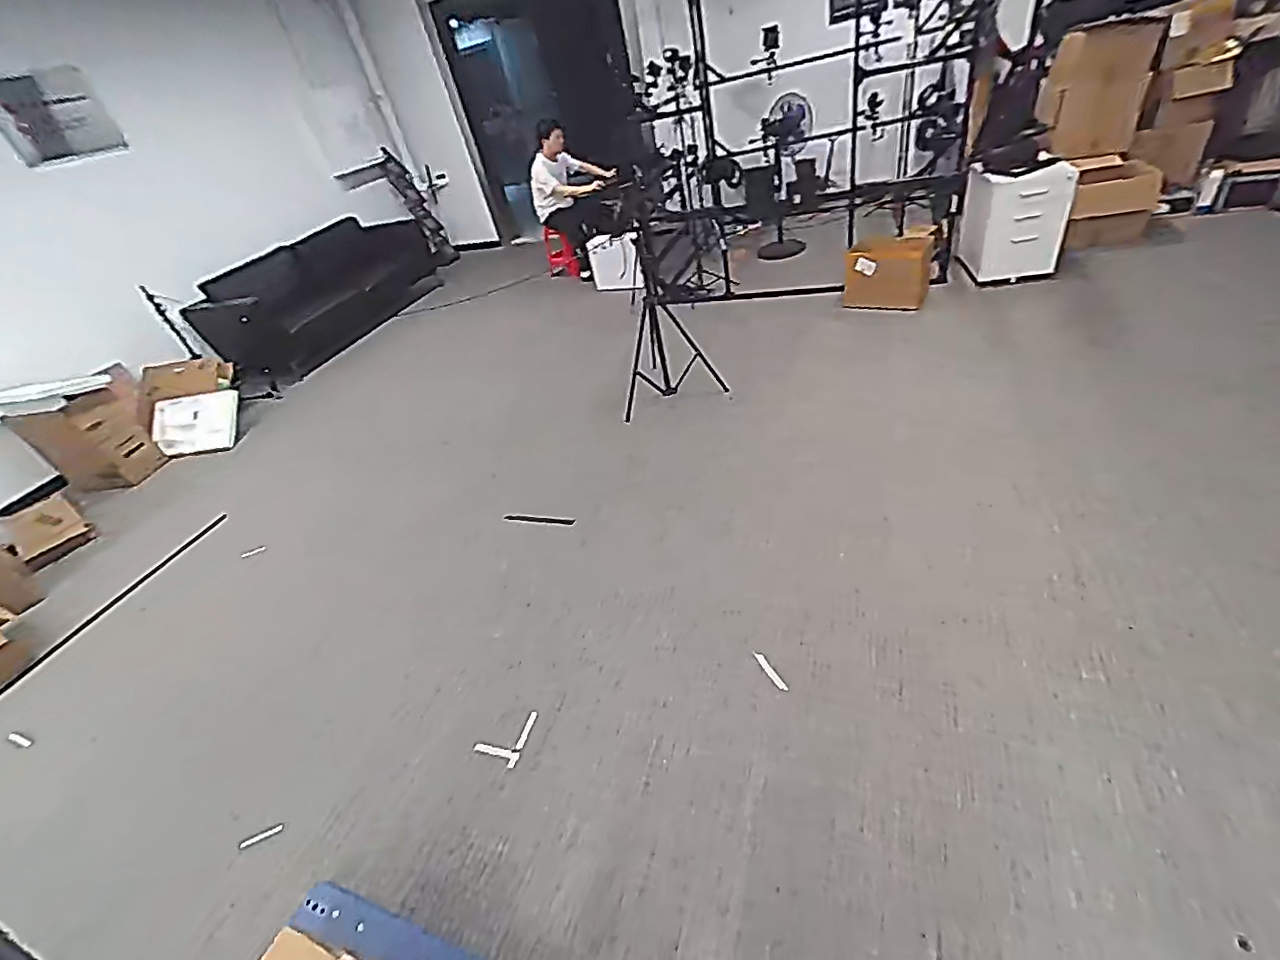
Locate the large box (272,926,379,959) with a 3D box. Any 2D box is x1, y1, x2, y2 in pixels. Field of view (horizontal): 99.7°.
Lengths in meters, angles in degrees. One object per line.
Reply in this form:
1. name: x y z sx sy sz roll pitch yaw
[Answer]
1. large box: -0.521 1.049 0.869 0.320 0.320 0.408 5 42 25
